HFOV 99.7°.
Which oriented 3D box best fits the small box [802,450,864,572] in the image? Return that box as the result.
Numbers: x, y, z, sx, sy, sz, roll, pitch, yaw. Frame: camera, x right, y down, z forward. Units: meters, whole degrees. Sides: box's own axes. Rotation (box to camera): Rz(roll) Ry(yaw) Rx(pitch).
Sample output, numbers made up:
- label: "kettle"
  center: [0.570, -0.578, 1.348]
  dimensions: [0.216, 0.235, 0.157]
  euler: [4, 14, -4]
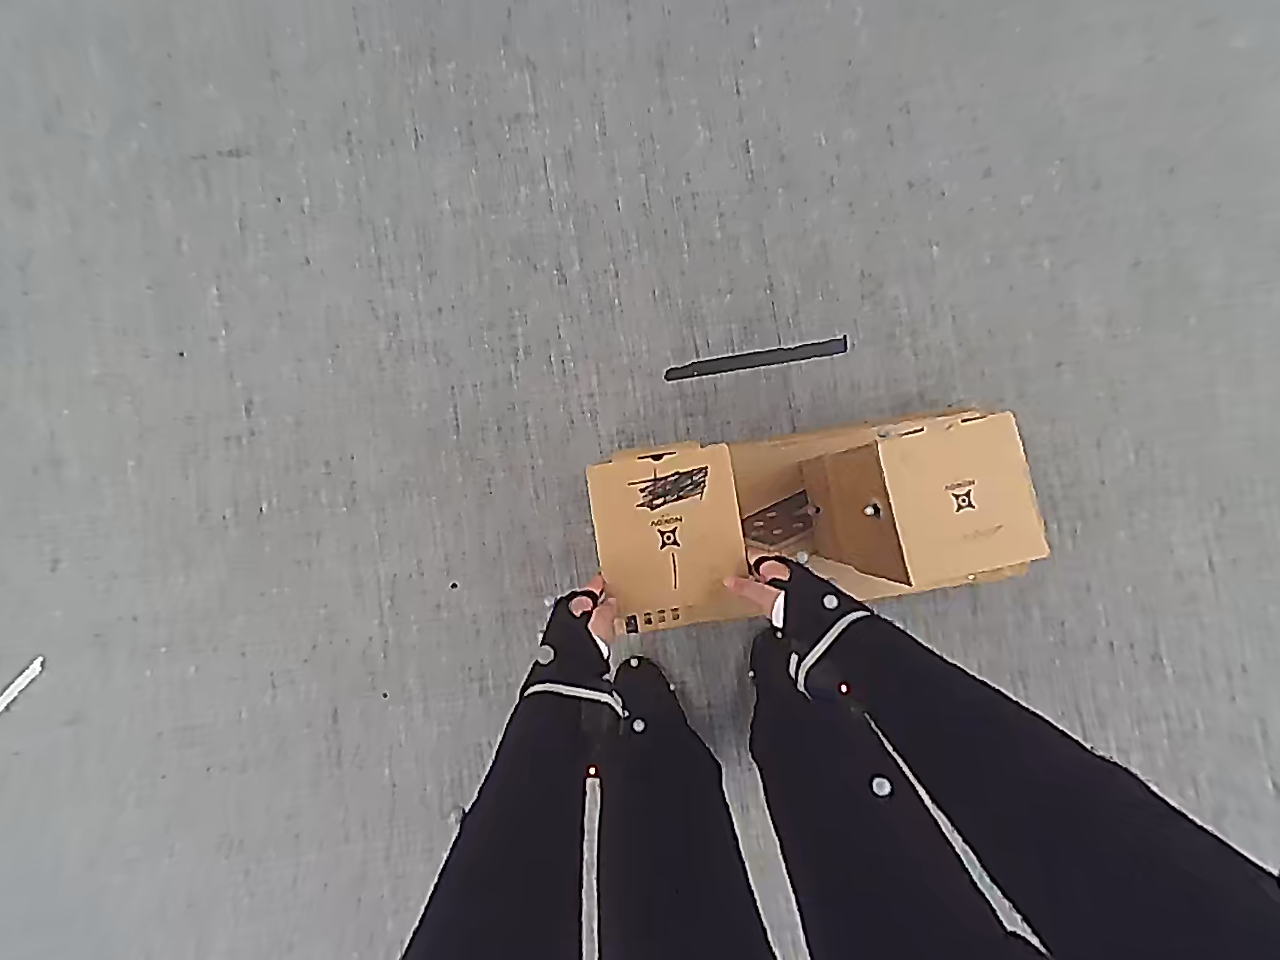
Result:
- label: "small box"
  center: [0.376, 0.036, 0.864]
  dimensions: [0.168, 0.176, 0.179]
  euler: [-10, 88, -2]

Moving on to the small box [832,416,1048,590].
- label: "small box"
  center: [0.370, 0.030, 0.702]
  dimensions: [0.168, 0.176, 0.179]
  euler: [-13, 88, 0]

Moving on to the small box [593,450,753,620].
- label: "small box"
  center: [0.032, 0.067, 0.686]
  dimensions: [0.168, 0.176, 0.179]
  euler: [-7, 86, -3]
